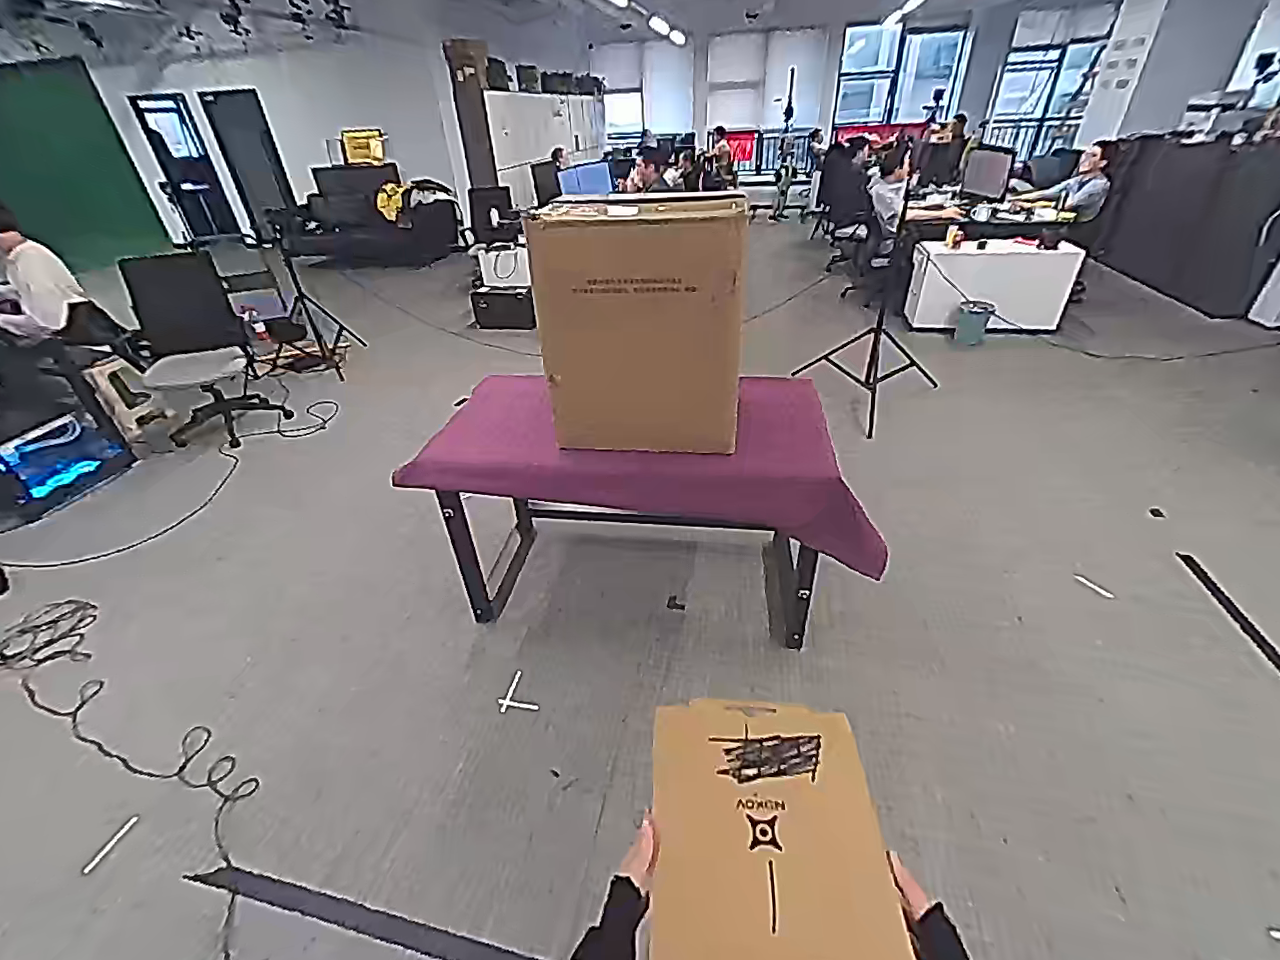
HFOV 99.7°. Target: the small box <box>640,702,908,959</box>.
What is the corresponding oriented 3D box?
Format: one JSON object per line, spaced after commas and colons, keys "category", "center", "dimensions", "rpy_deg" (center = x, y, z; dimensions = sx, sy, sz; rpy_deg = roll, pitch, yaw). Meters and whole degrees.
{"category": "small box", "center": [0.086, 0.310, 0.442], "dimensions": [0.168, 0.176, 0.179], "rpy_deg": [1, 36, 2]}
